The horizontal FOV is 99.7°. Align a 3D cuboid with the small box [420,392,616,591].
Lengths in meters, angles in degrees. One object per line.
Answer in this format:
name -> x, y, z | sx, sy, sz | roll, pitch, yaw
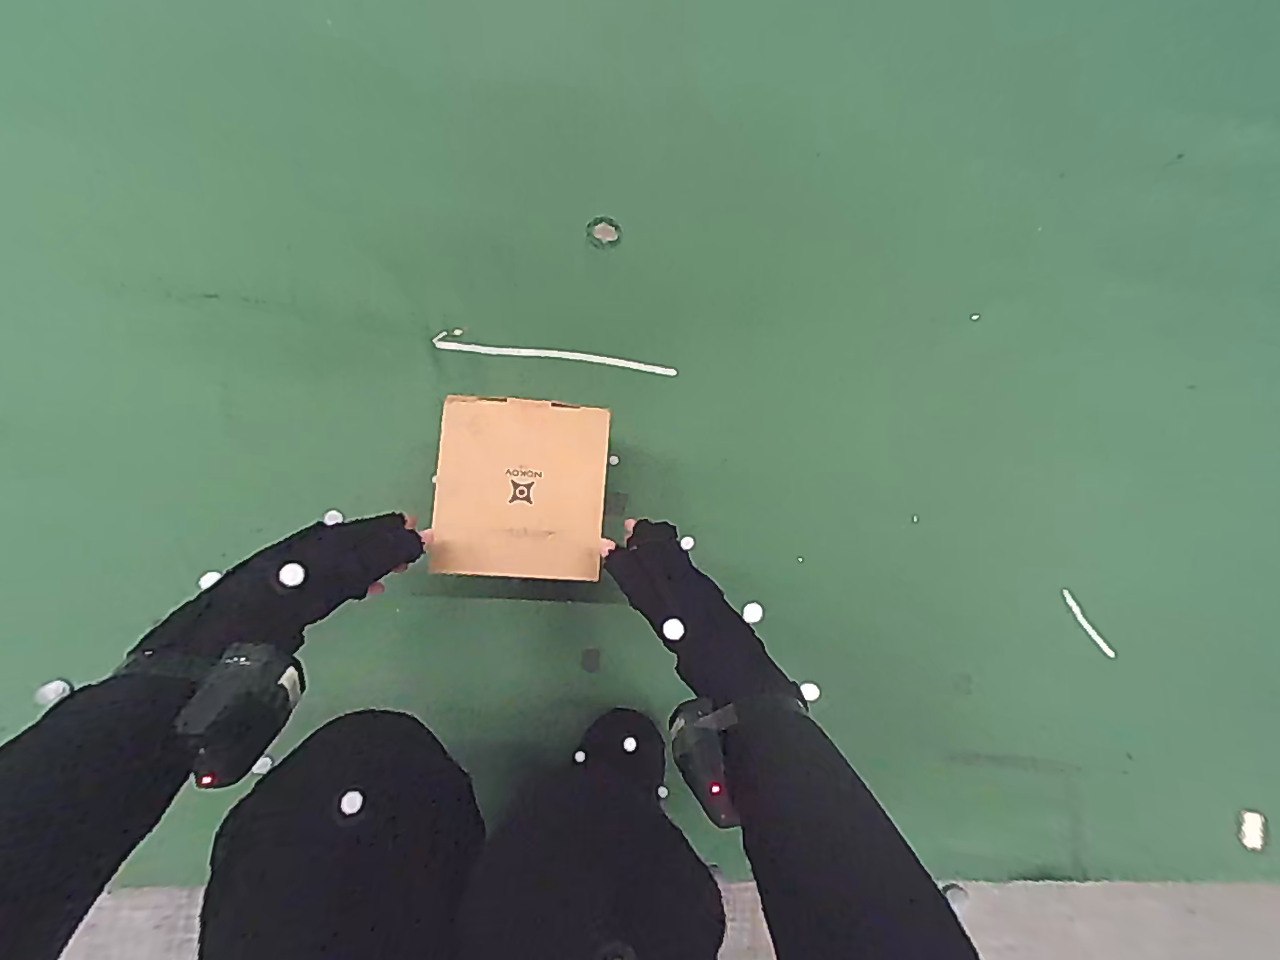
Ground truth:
small box -> -0.120, 0.018, 0.589 | 0.168, 0.176, 0.179 | 6, 84, -4
